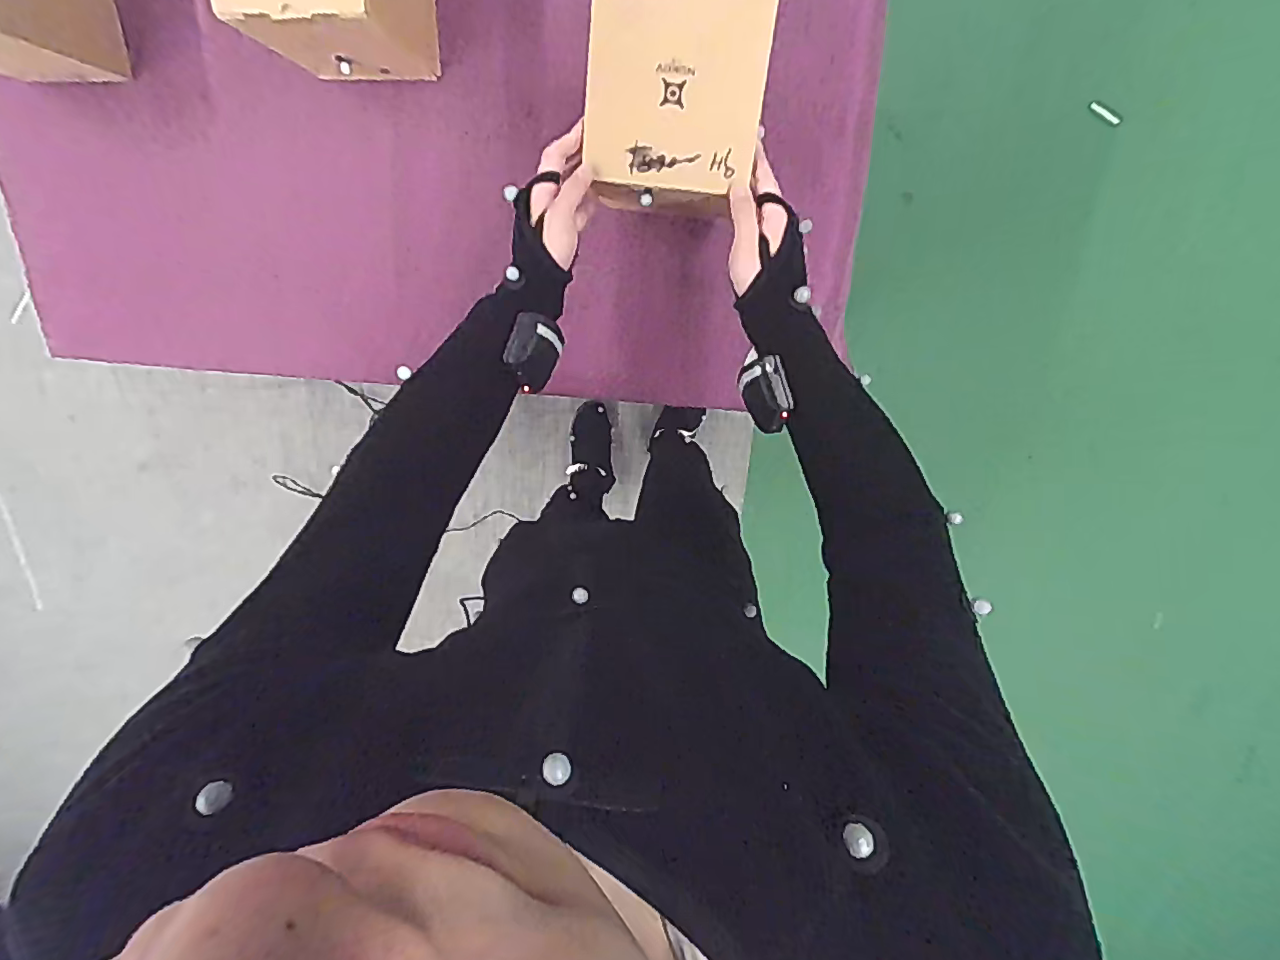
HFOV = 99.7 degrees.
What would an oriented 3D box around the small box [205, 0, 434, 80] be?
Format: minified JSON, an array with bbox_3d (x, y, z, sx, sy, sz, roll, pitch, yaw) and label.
[{"bbox_3d":[-0.340,-0.568,0.582,0.168,0.176,0.179,3,110,3],"label":"small box"}]

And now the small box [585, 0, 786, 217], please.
[{"bbox_3d":[0.042,-0.390,0.567,0.168,0.176,0.179,8,110,2],"label":"small box"}]
